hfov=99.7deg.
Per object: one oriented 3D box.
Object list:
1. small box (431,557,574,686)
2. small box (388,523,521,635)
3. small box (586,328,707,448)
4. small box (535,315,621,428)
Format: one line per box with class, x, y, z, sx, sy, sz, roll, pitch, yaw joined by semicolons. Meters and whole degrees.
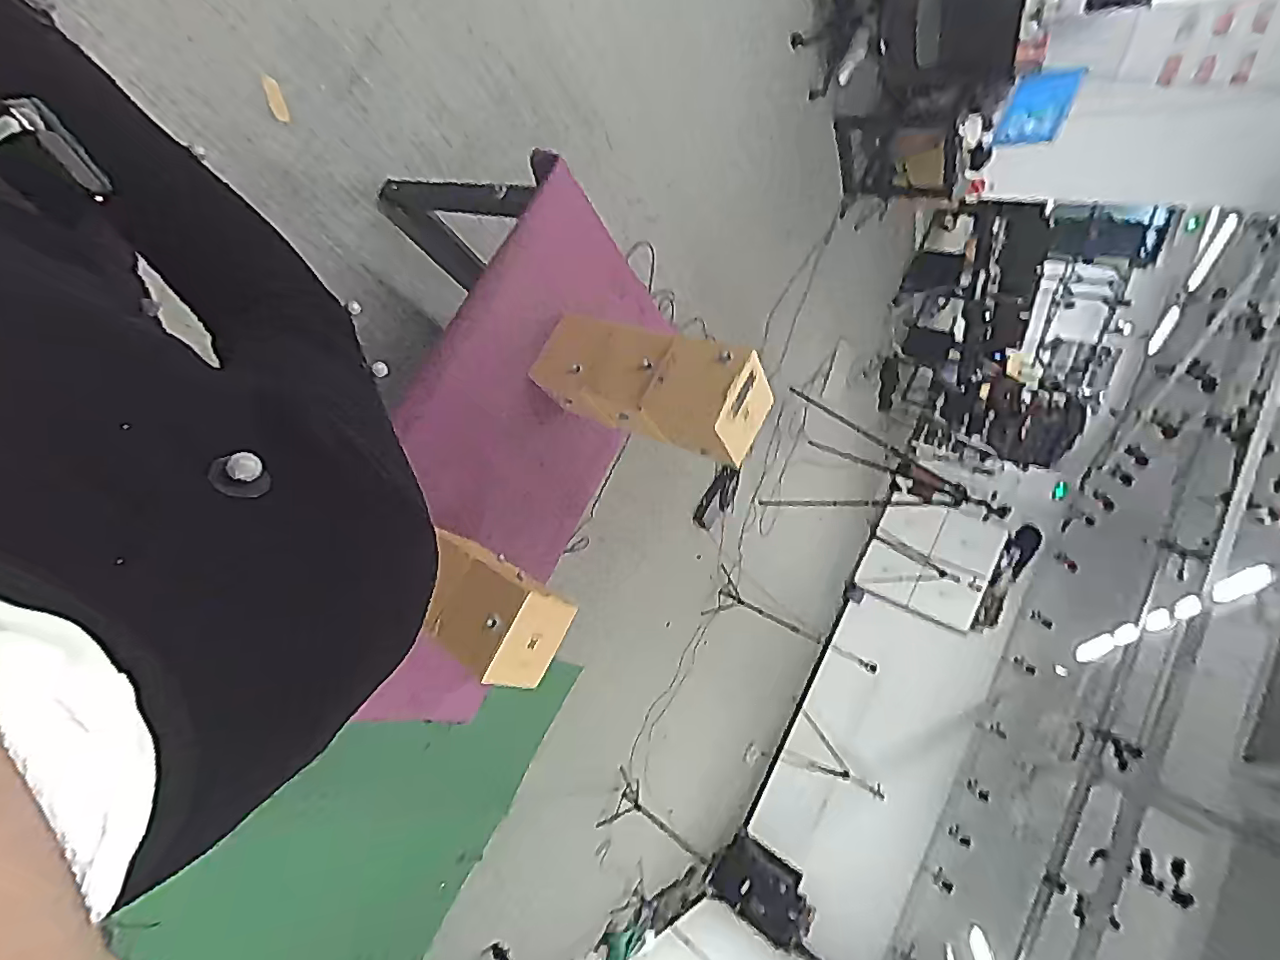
small box;-0.267;0.271;1.045;0.179;0.176;0.168;-61;146;-9
small box;-0.393;0.216;1.133;0.179;0.176;0.168;-61;147;-8
small box;0.009;-0.198;1.151;0.179;0.176;0.168;-61;146;-9
small box;-0.114;-0.251;1.242;0.179;0.176;0.168;-60;147;-9
